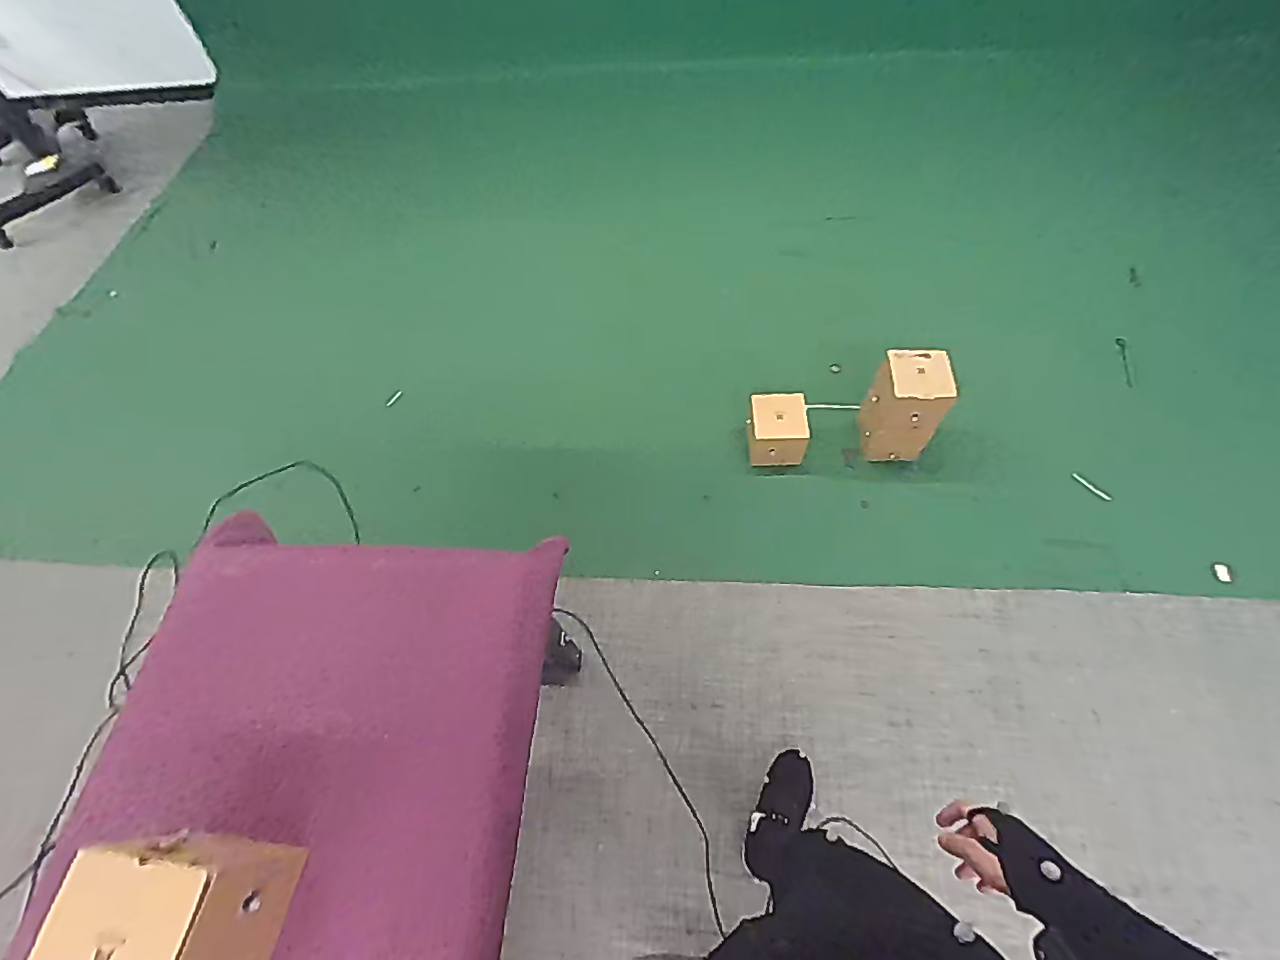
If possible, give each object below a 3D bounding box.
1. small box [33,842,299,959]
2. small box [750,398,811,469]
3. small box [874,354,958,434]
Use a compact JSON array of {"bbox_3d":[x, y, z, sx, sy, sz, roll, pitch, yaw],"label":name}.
[{"bbox_3d":[-0.539,0.535,0.623,0.168,0.176,0.179,4,61,8],"label":"small box"},{"bbox_3d":[0.453,-0.147,1.766,0.168,0.176,0.179,-1,59,5],"label":"small box"},{"bbox_3d":[0.809,-0.251,1.602,0.168,0.176,0.179,3,62,6],"label":"small box"}]
